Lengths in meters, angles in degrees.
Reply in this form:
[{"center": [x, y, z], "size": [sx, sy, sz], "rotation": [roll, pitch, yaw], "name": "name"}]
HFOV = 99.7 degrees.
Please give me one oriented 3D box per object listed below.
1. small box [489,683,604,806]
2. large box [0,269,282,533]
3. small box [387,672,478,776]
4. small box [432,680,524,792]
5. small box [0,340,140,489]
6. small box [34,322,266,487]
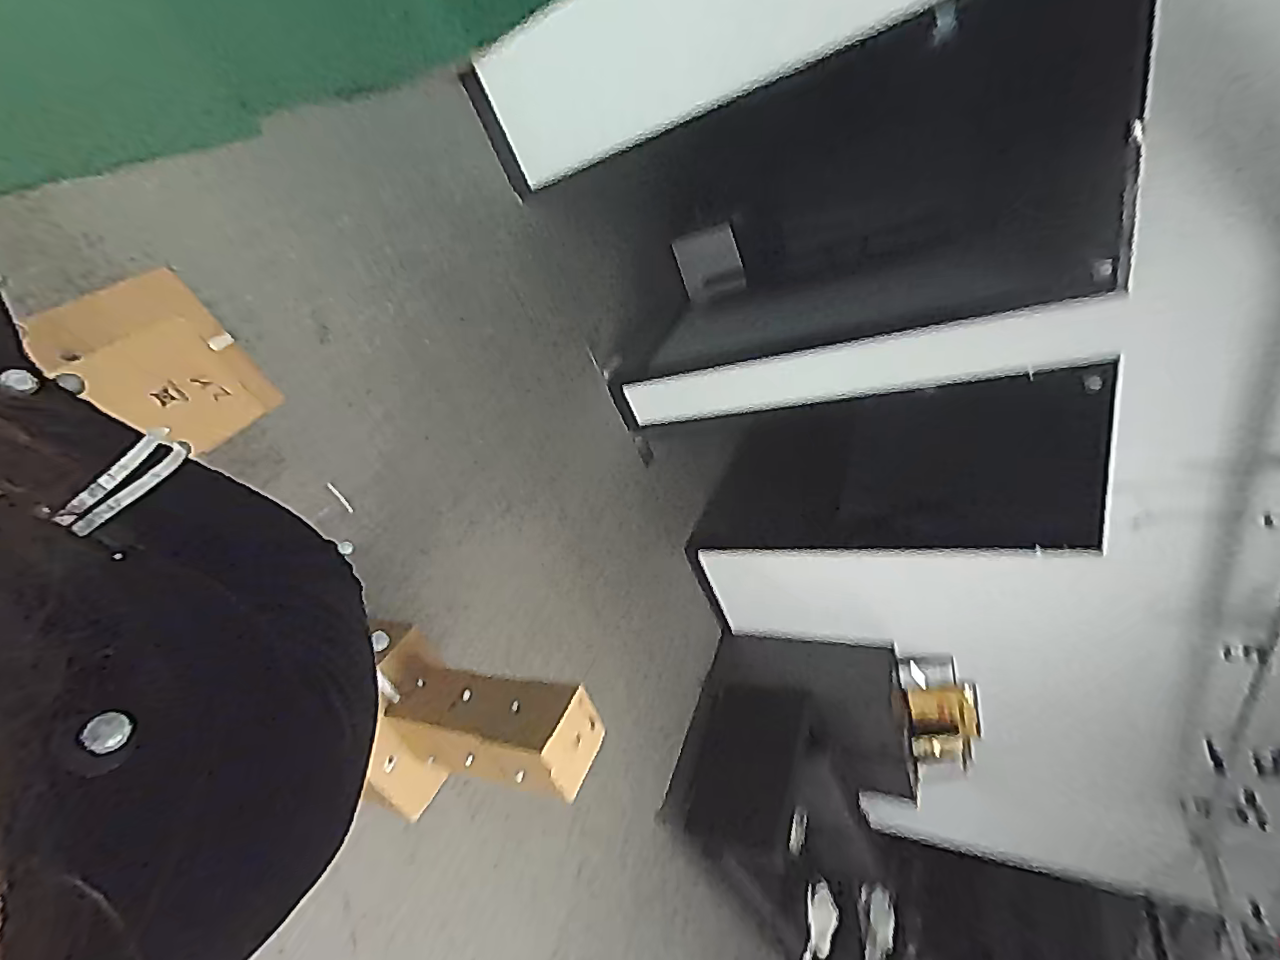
[{"center": [-0.212, 0.581, 1.208], "size": [0.179, 0.176, 0.168], "rotation": [-51, 129, -51], "name": "small box"}, {"center": [-1.039, -0.146, 1.052], "size": [0.320, 0.320, 0.408], "rotation": [64, 36, -31], "name": "large box"}, {"center": [-0.496, 0.609, 1.372], "size": [0.168, 0.176, 0.179], "rotation": [-52, 129, -51], "name": "small box"}, {"center": [-0.354, 0.599, 1.288], "size": [0.168, 0.176, 0.179], "rotation": [-51, 127, -52], "name": "small box"}, {"center": [-0.858, -0.100, 0.873], "size": [0.168, 0.176, 0.179], "rotation": [65, 36, -30], "name": "small box"}, {"center": [-0.714, -0.104, 0.790], "size": [0.168, 0.176, 0.179], "rotation": [65, 36, -30], "name": "small box"}]
